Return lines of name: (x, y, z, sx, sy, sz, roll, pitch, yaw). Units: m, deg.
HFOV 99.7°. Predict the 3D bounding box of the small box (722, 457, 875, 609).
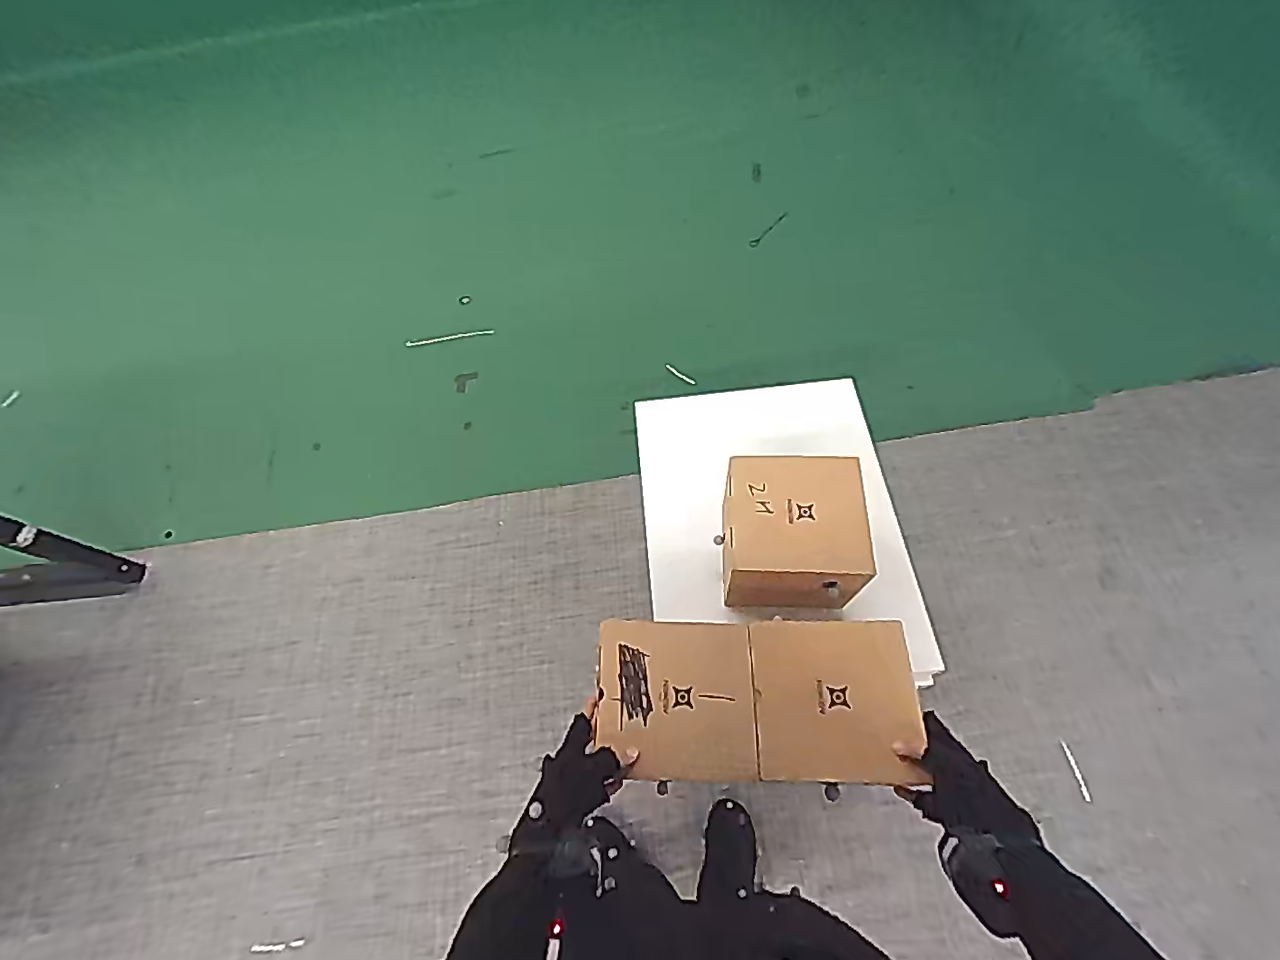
small box: (0.209, 0.080, 0.764, 0.179, 0.176, 0.168, 1, 62, 6)
